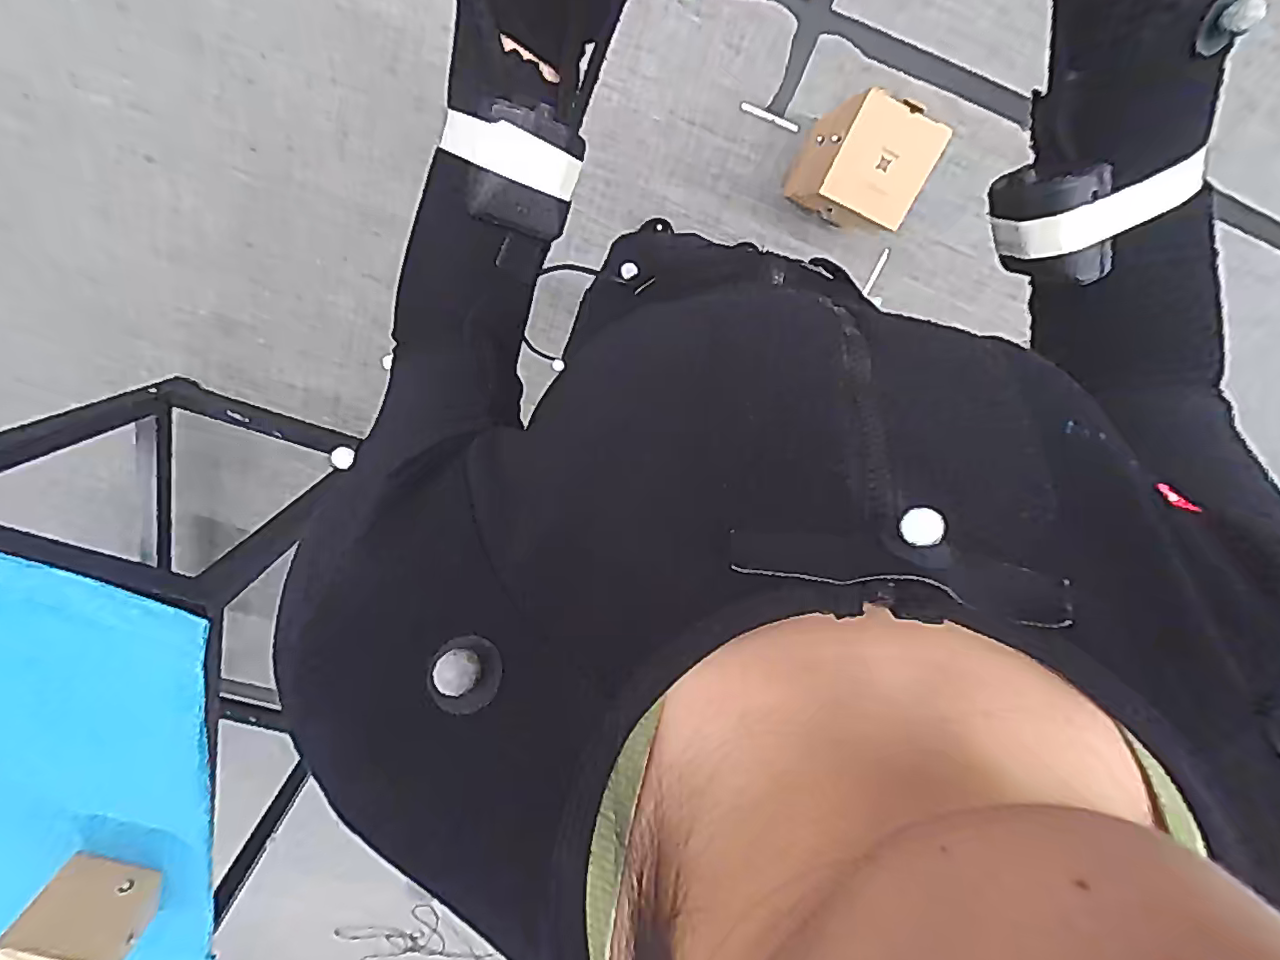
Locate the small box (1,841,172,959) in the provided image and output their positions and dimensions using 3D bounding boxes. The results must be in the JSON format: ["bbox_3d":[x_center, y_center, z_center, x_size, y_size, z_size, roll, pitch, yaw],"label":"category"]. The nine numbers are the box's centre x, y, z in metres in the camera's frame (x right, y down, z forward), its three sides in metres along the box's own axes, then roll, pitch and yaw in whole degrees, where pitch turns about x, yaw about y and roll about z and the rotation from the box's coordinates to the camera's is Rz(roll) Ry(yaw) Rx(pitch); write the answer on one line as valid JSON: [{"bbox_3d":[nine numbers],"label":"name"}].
[{"bbox_3d":[-1.112,0.885,1.098,0.179,0.176,0.168,22,113,-11],"label":"small box"}]

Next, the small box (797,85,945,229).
[{"bbox_3d":[0.423,-0.601,1.028,0.168,0.176,0.179,22,115,-9],"label":"small box"}]

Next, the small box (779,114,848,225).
[{"bbox_3d":[0.432,-0.672,1.175,0.179,0.176,0.168,21,113,-12],"label":"small box"}]
